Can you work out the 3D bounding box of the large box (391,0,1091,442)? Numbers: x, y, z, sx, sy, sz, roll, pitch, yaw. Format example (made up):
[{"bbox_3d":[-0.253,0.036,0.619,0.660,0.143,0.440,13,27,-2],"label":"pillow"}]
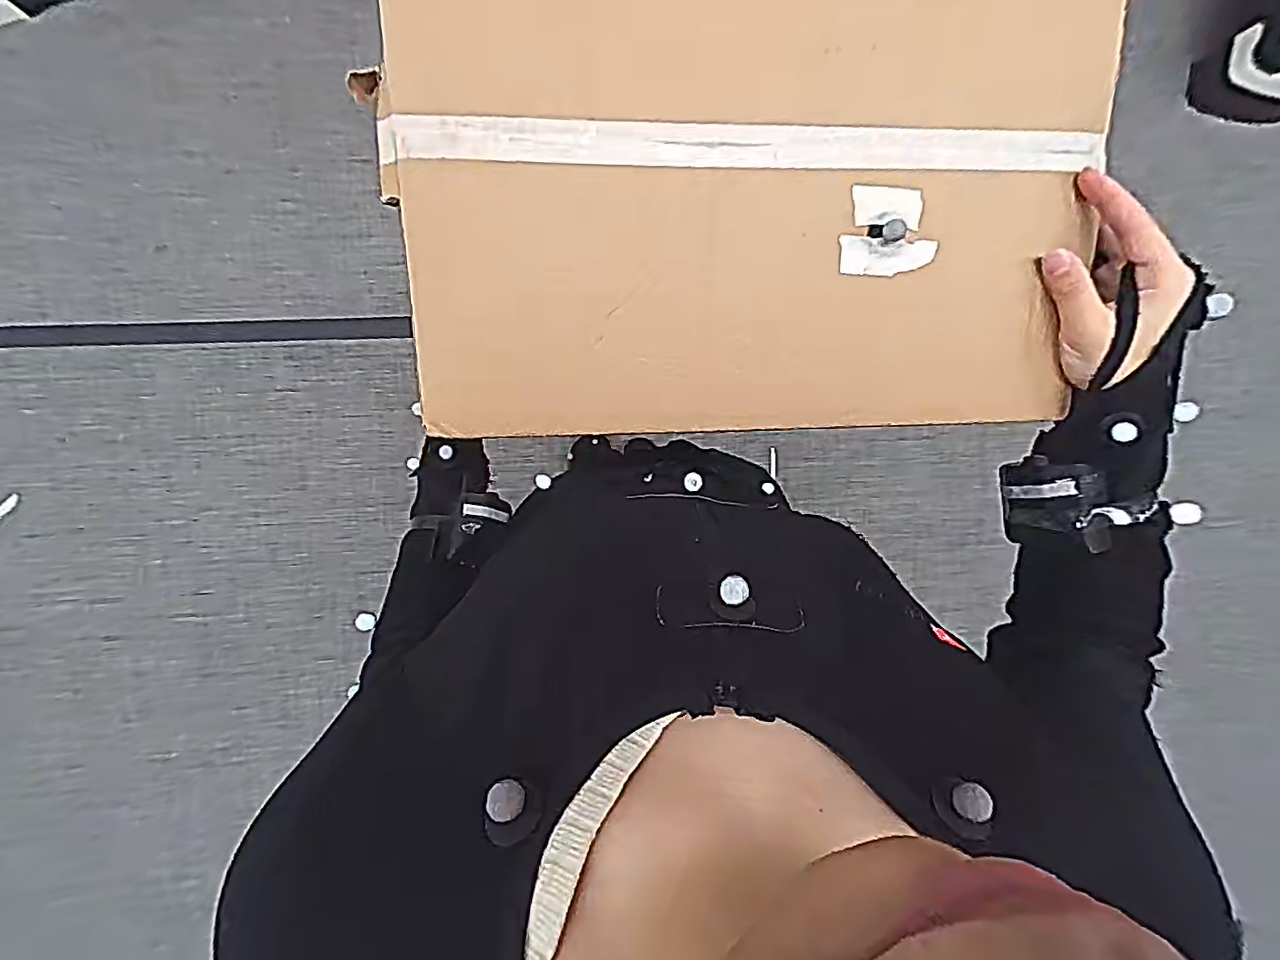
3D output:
[{"bbox_3d":[0.051,-0.213,0.458,0.408,0.320,0.320,-3,102,-7],"label":"large box"}]
